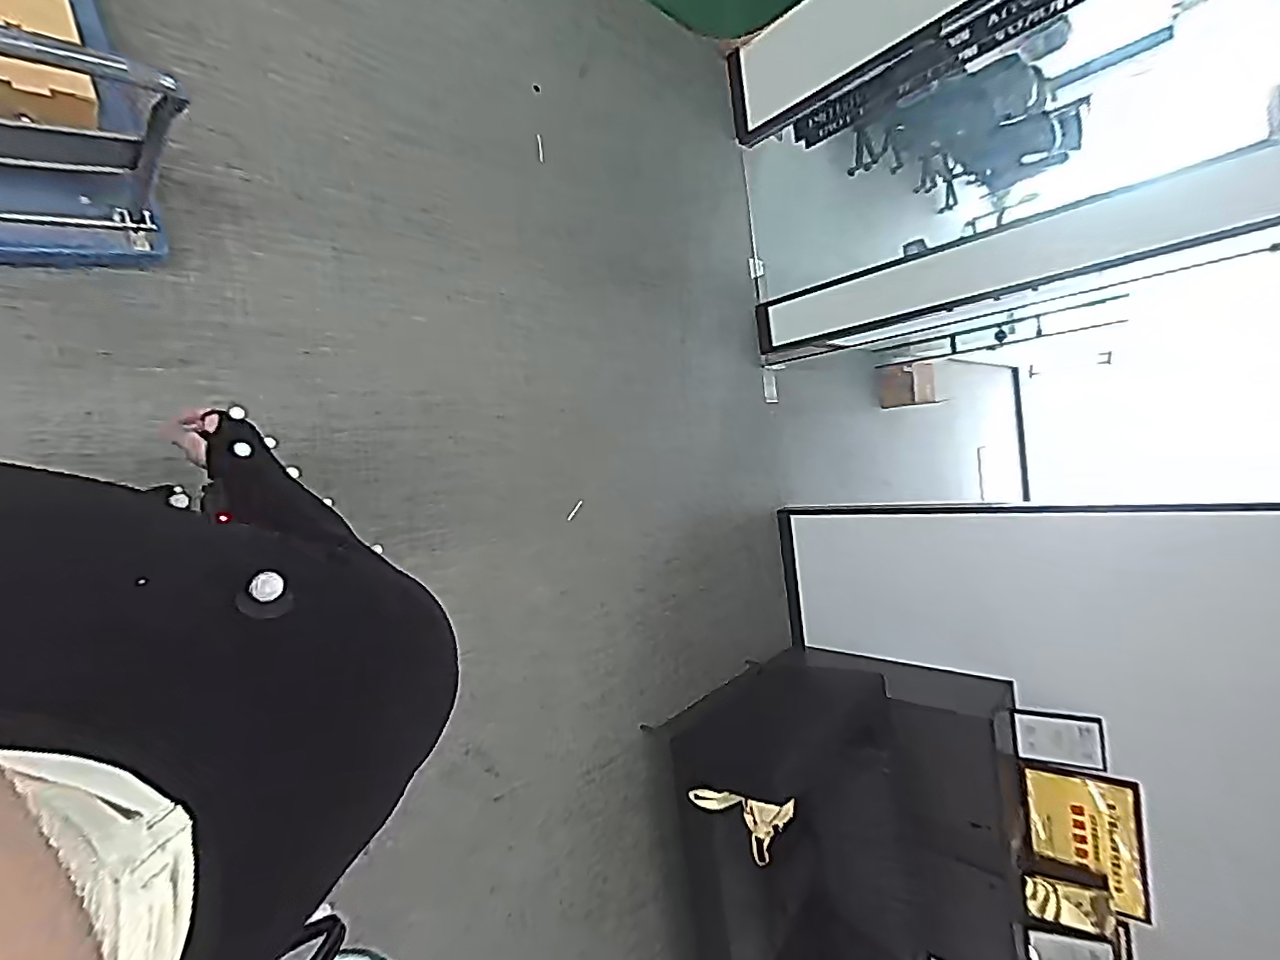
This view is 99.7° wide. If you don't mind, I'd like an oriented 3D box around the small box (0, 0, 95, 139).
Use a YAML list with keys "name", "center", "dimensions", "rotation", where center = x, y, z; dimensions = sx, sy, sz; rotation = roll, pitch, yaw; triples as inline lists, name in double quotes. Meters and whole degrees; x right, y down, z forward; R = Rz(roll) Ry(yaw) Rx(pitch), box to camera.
- name: "small box"
  center: [-1.112, -0.752, 0.963]
  dimensions: [0.168, 0.176, 0.179]
  rotation: [-18, 101, -45]
